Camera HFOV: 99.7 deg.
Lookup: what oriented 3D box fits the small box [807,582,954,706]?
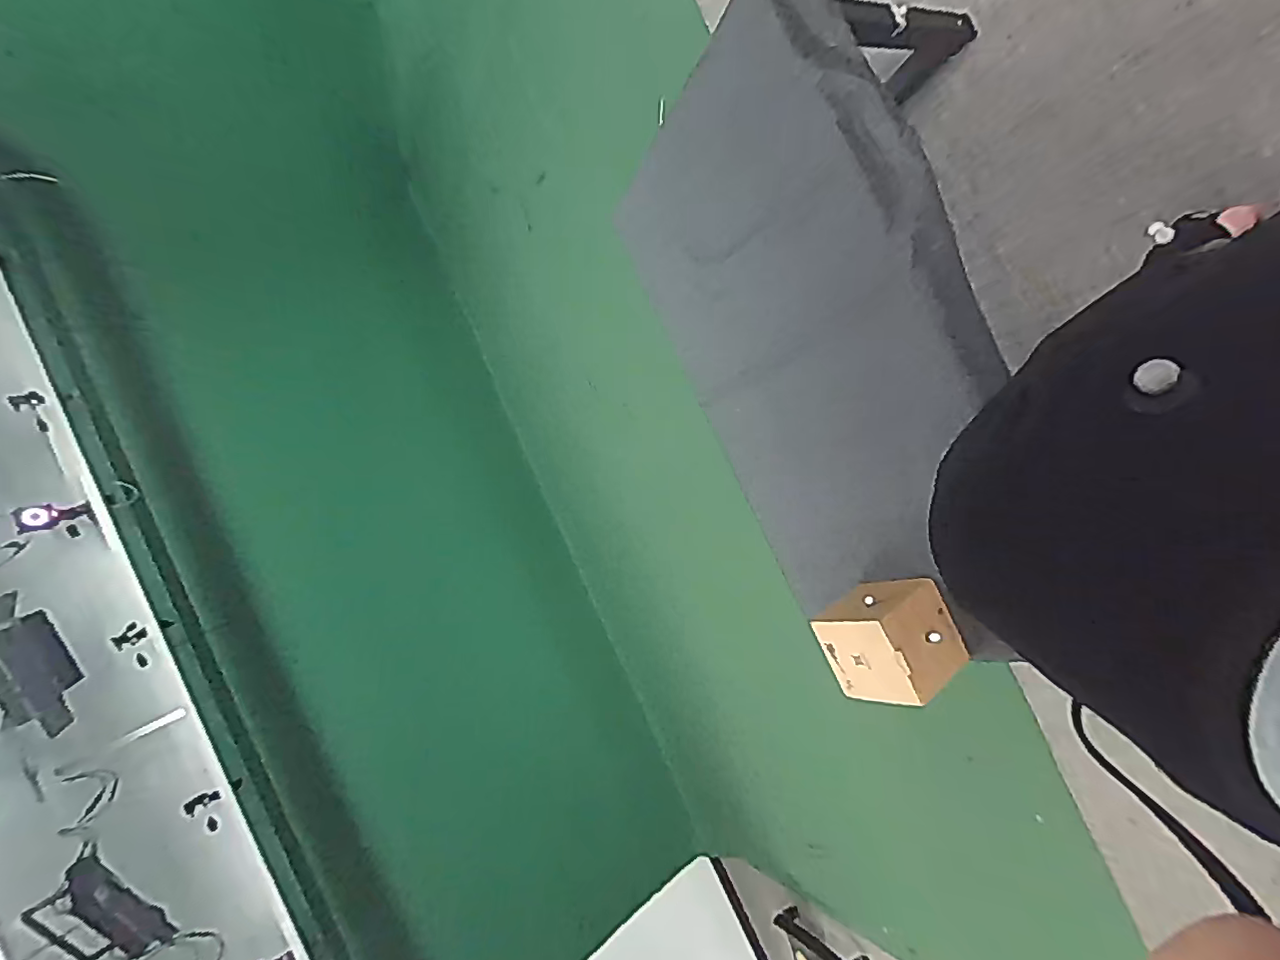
[{"bbox_3d":[0.466,0.307,1.038,0.179,0.176,0.168,-30,84,59],"label":"small box"}]
